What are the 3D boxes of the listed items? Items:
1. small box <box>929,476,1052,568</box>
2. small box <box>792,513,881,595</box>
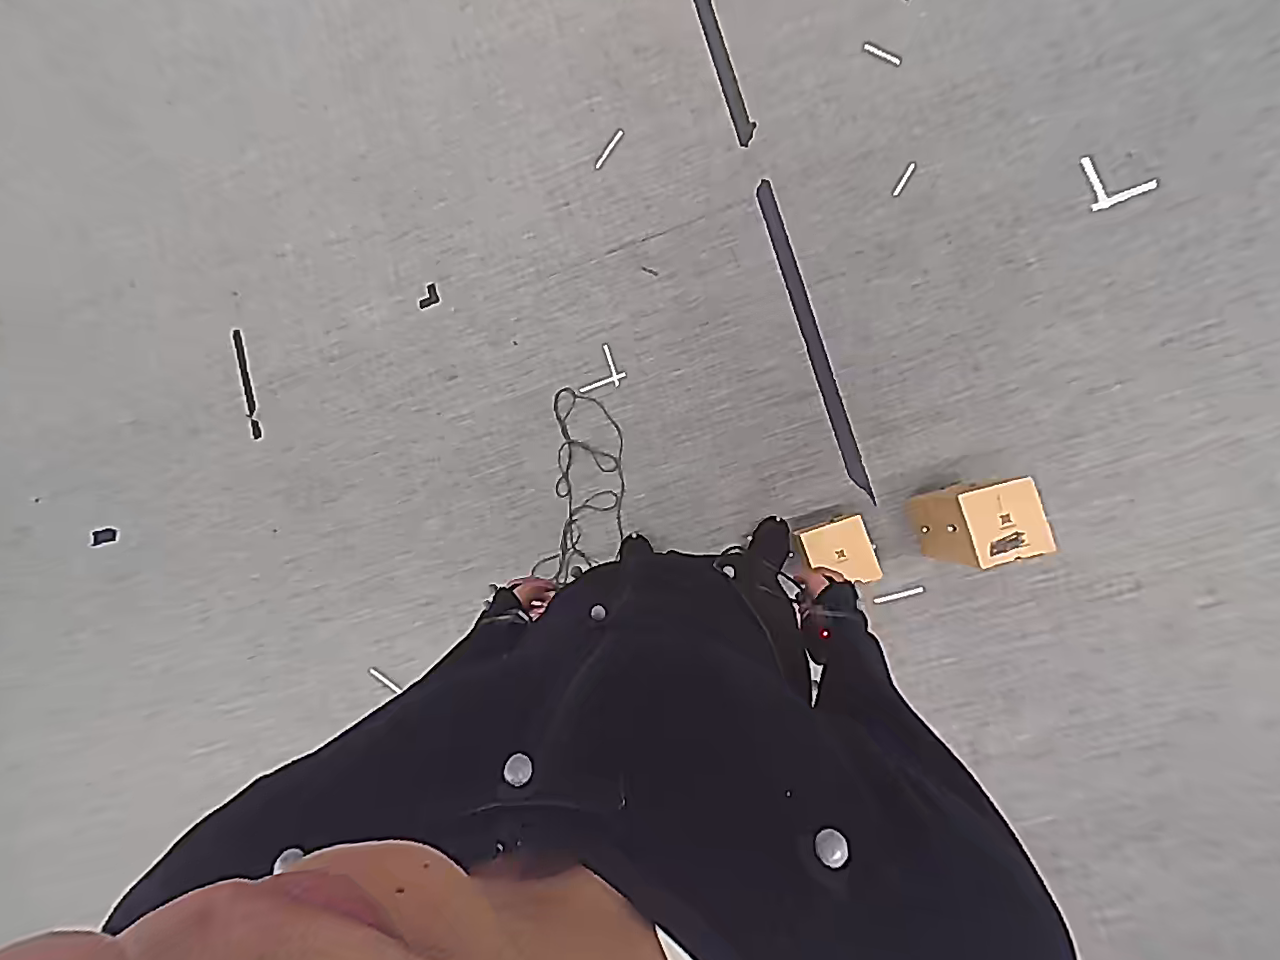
[{"bbox_3d":[0.825,0.097,1.290,0.168,0.176,0.179,-16,84,7],"label":"small box"},{"bbox_3d":[0.534,0.200,1.495,0.168,0.176,0.179,-20,85,7],"label":"small box"}]
